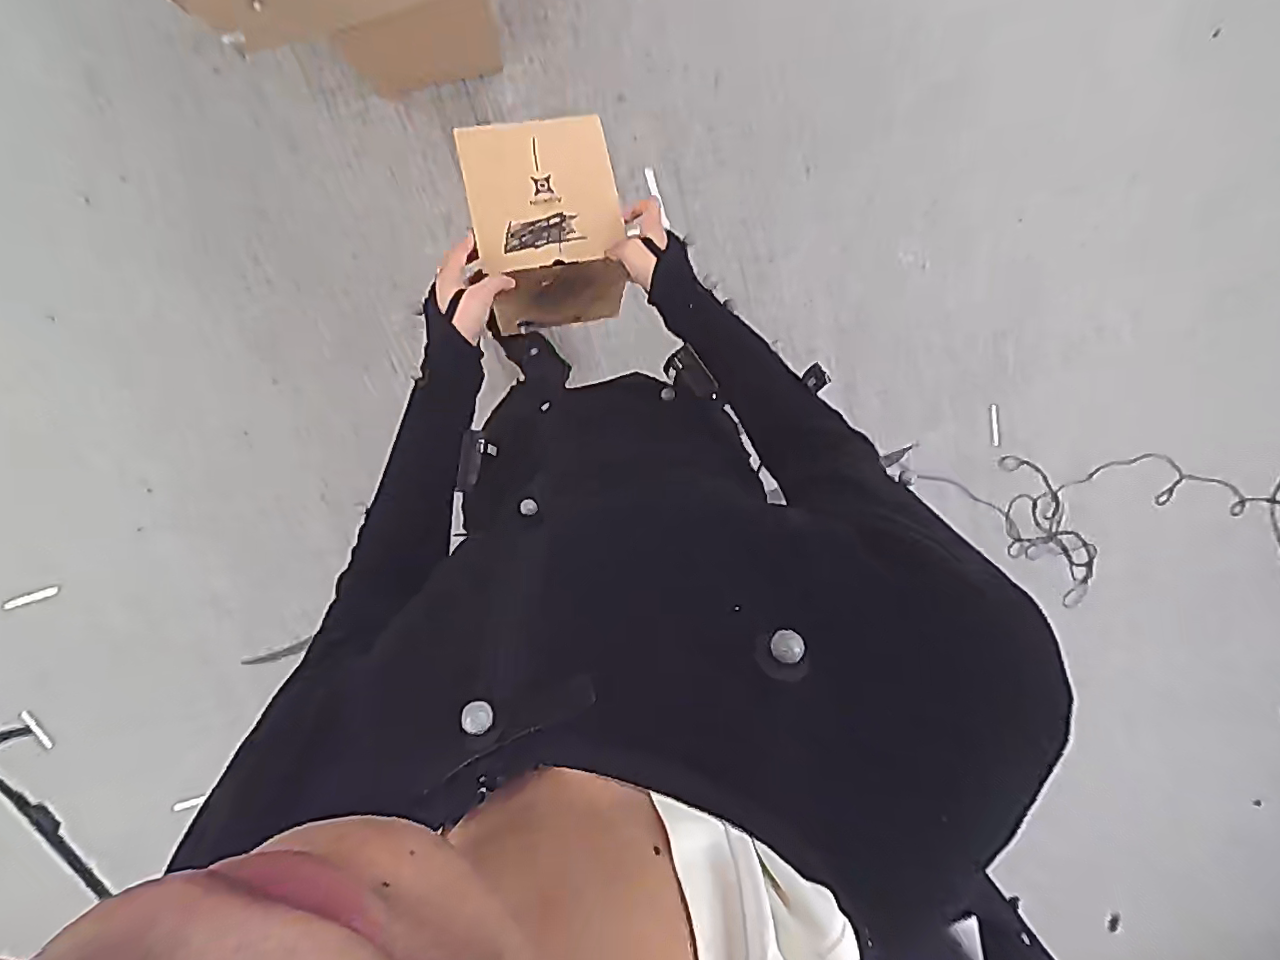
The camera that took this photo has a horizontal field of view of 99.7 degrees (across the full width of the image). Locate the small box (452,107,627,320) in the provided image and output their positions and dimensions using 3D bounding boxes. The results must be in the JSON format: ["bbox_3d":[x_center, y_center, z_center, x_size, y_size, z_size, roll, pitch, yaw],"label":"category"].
[{"bbox_3d":[-0.119,-0.312,0.668,0.168,0.176,0.179,-12,85,-10],"label":"small box"}]
